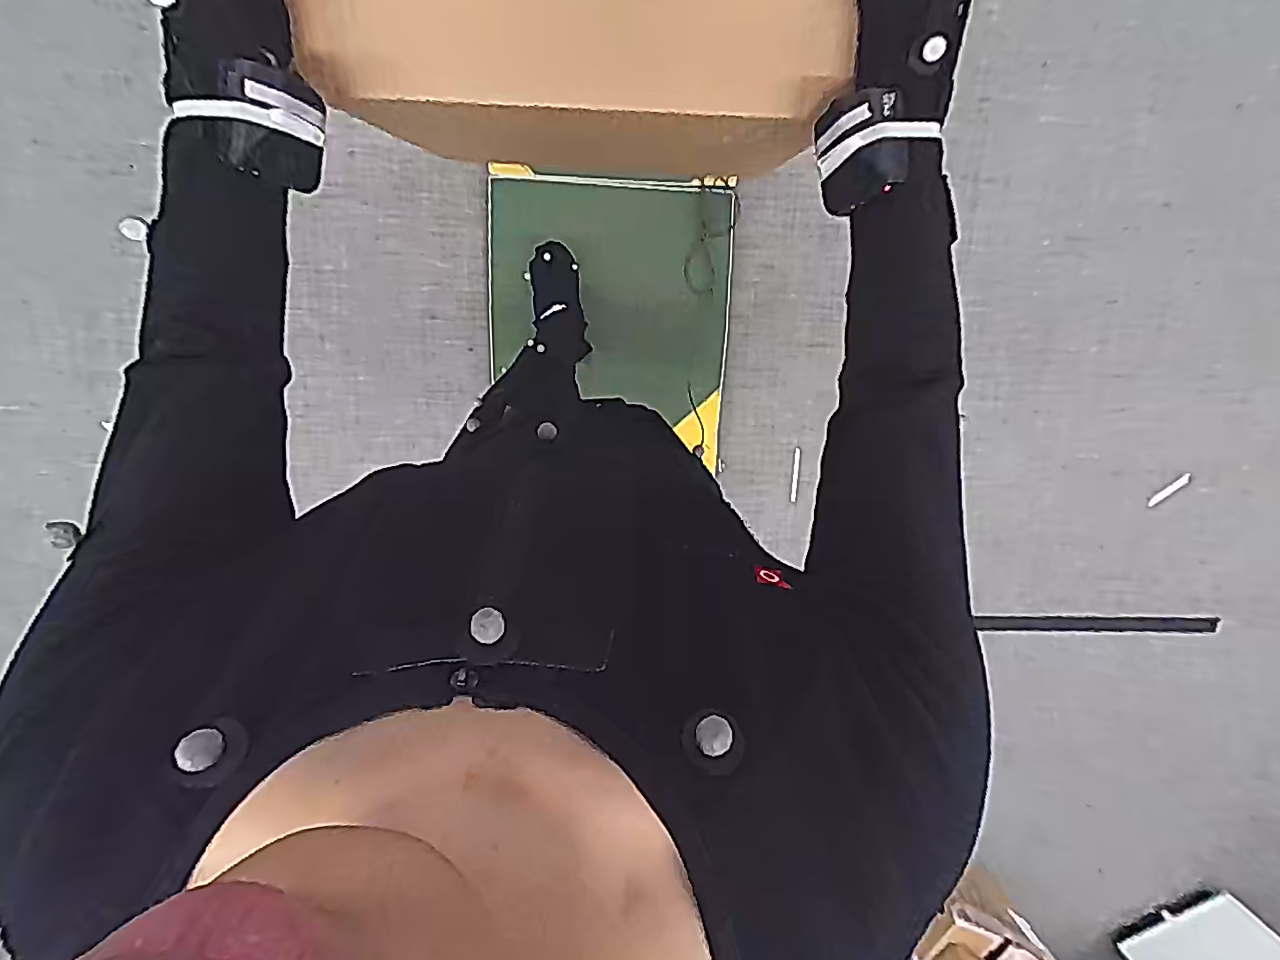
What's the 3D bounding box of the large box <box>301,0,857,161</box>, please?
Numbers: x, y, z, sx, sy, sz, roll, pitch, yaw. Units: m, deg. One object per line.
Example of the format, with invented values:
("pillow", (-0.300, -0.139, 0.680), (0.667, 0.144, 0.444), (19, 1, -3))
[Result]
("large box", (-0.043, -0.488, 0.484), (0.408, 0.320, 0.320), (1, 114, -1))
